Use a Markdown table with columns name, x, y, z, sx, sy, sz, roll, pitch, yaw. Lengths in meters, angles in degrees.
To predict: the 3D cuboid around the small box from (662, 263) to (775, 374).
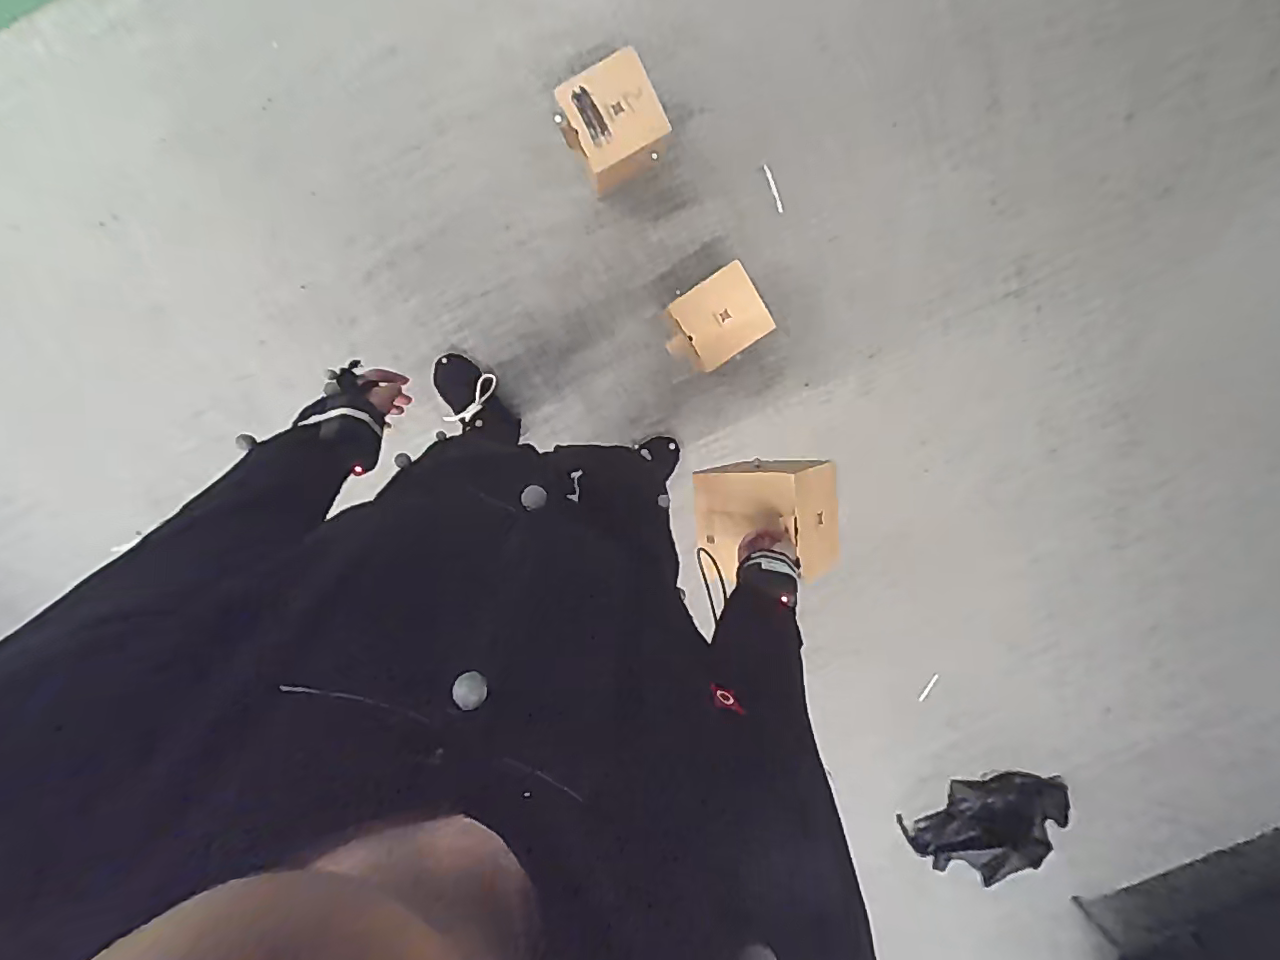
| name | x | y | z | sx | sy | sz | roll | pitch | yaw |
| --- | --- | --- | --- | --- | --- | --- | --- | --- | --- |
| small box | 0.167 | -0.357 | 1.213 | 0.179 | 0.176 | 0.168 | -34 | 103 | 5 |

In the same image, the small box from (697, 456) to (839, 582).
| name | x | y | z | sx | sy | sz | roll | pitch | yaw |
| --- | --- | --- | --- | --- | --- | --- | --- | --- | --- |
| small box | 0.199 | 0.054 | 0.851 | 0.176 | 0.179 | 0.168 | 0 | 98 | 38 |
